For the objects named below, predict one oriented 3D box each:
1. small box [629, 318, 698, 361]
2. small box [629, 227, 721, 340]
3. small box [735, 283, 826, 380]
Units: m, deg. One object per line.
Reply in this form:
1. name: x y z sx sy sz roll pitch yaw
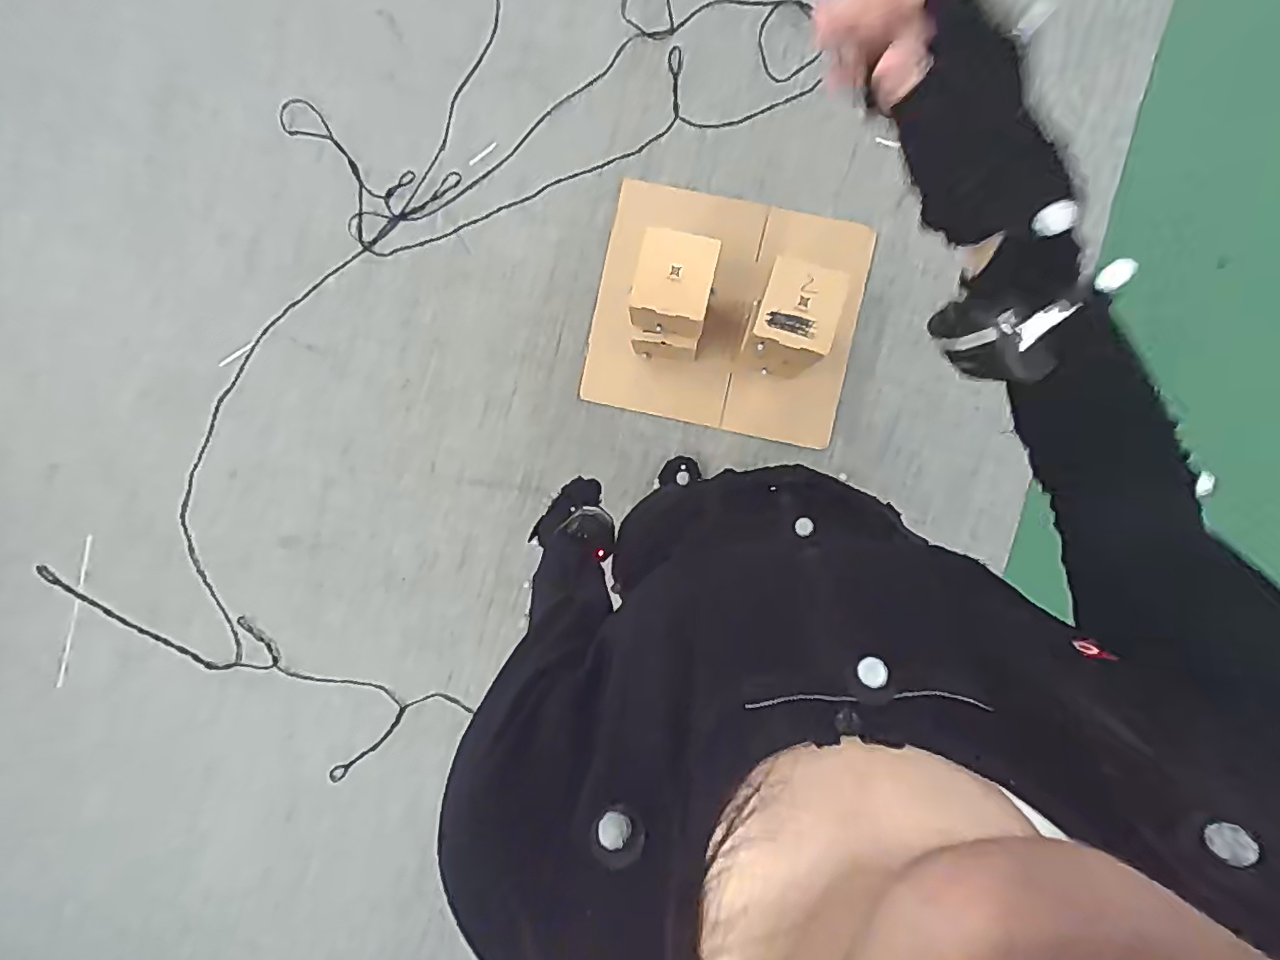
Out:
1. small box: 0.073 -0.413 1.385 0.168 0.176 0.179 10 92 3
2. small box: 0.076 -0.435 1.221 0.168 0.176 0.179 13 92 2
3. small box: 0.348 -0.369 1.375 0.168 0.176 0.179 17 93 3
